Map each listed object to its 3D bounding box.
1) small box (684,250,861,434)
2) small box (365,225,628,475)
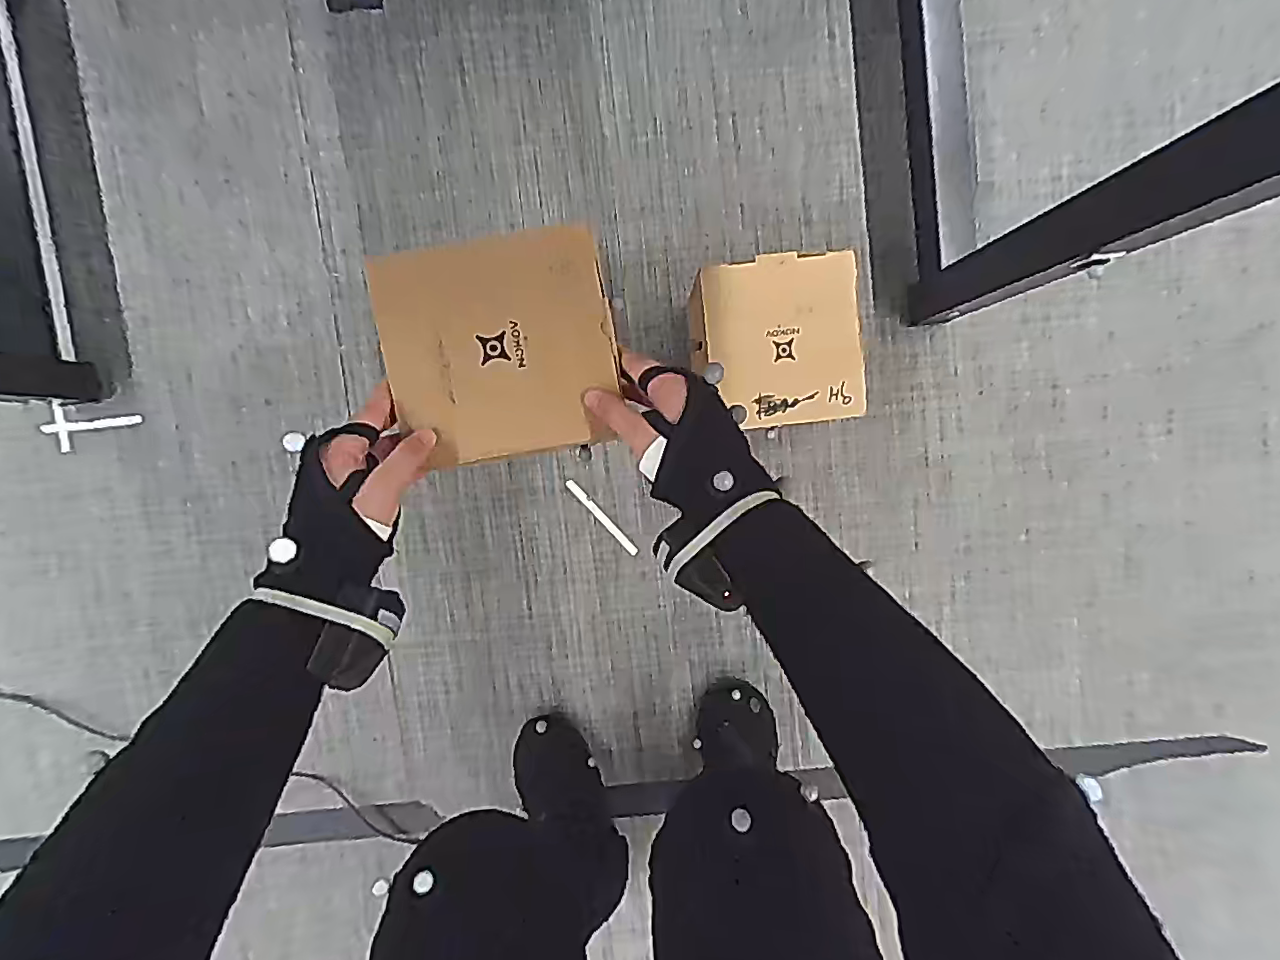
[{"bbox_3d":[0.147,-0.152,0.652,0.168,0.176,0.179,-7,94,1],"label":"small box"},{"bbox_3d":[-0.111,-0.104,0.496,0.179,0.176,0.168,-12,92,0],"label":"small box"}]
